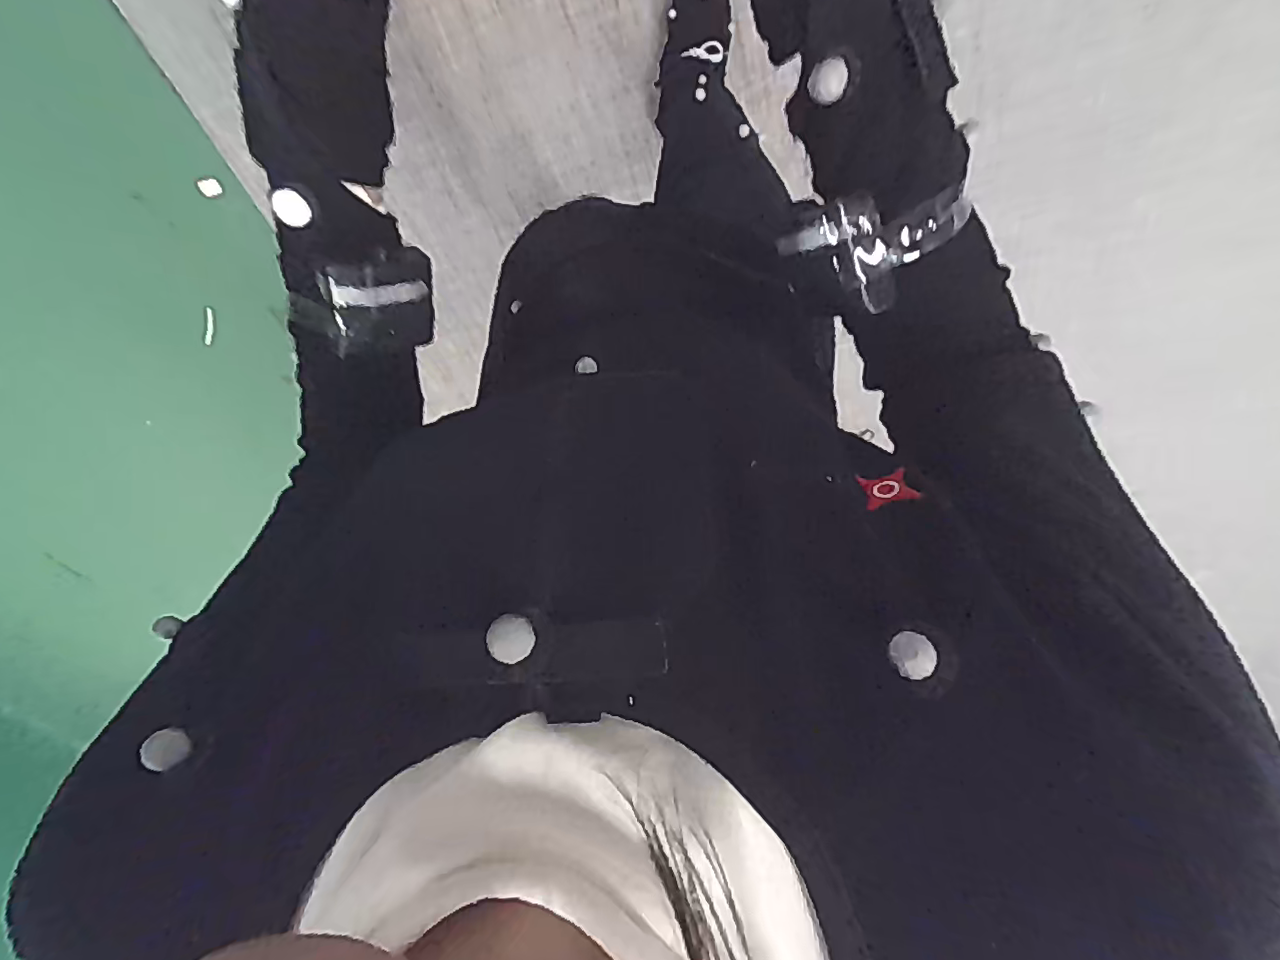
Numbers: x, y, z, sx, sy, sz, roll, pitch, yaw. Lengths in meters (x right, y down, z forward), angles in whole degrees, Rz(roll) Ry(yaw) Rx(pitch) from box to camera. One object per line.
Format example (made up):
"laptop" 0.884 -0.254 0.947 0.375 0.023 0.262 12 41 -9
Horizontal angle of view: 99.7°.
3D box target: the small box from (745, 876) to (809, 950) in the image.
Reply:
"small box" 0.460 1.466 1.834 0.179 0.176 0.168 -14 128 18
